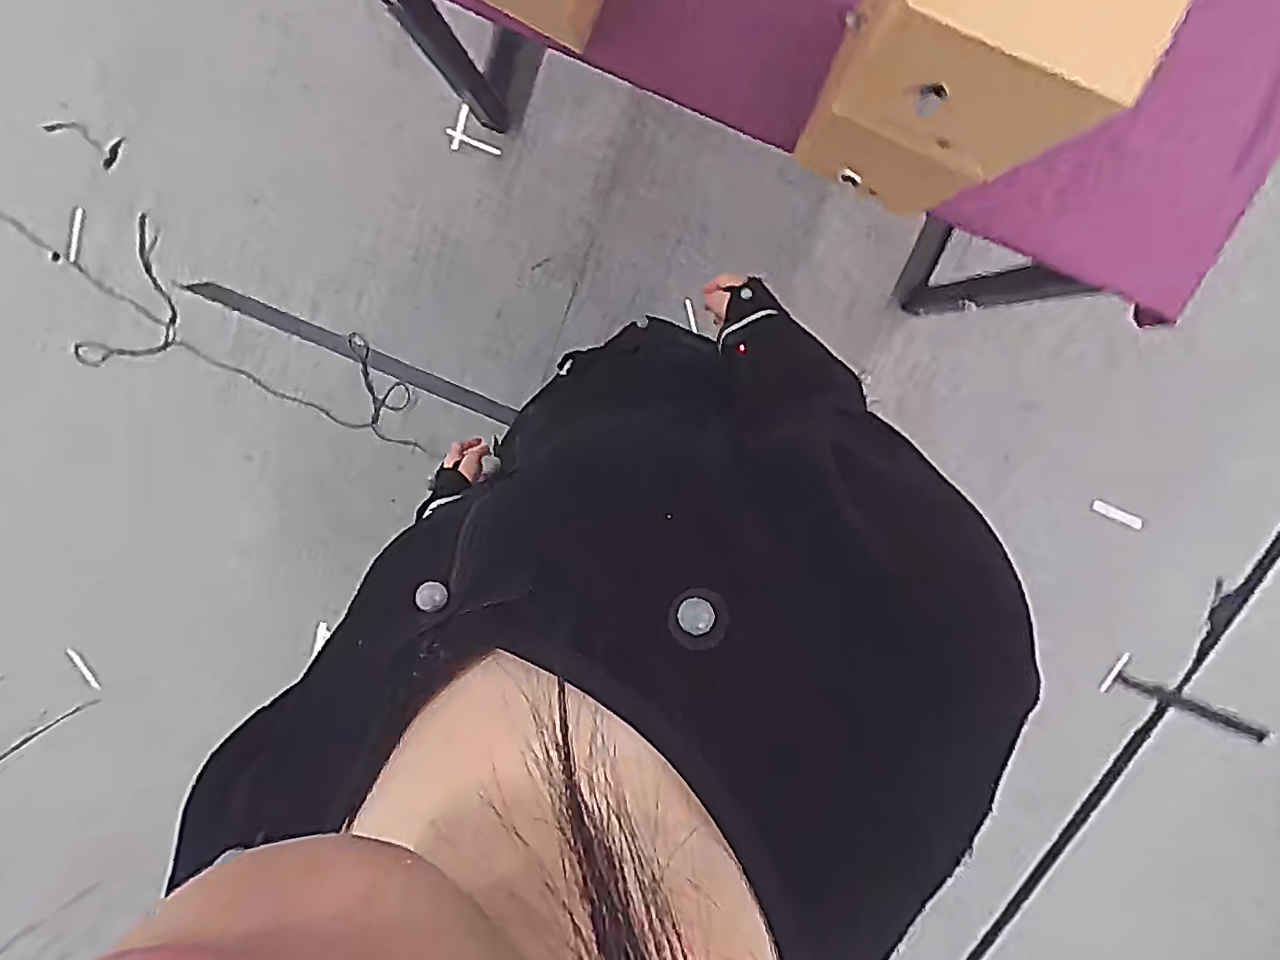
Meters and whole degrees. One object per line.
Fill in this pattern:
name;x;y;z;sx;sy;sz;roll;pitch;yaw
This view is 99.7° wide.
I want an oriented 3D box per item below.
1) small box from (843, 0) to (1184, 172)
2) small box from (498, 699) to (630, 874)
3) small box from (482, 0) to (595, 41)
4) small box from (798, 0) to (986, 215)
small box;0.275;-0.367;0.404;0.168;0.176;0.179;22;103;-2
small box;-0.124;0.528;0.949;0.168;0.176;0.179;22;105;-3
small box;-0.115;-0.586;0.530;0.179;0.176;0.168;26;103;-4
small box;0.284;-0.408;0.561;0.168;0.176;0.179;22;105;-2
